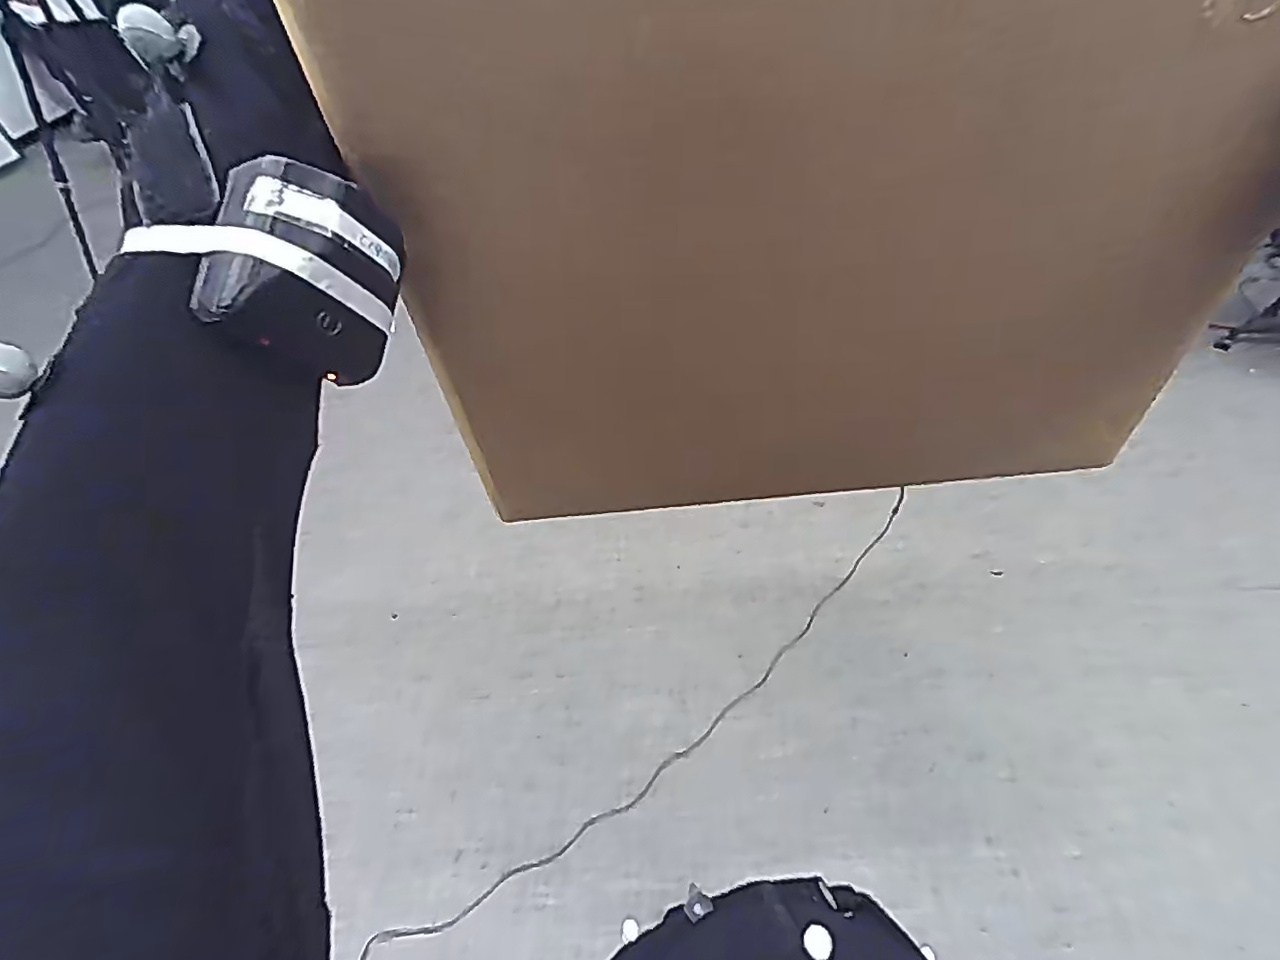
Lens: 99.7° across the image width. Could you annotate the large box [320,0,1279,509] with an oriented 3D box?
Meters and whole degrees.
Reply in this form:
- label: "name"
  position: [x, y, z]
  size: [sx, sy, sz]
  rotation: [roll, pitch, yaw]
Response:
- label: "large box"
  position: [0.081, -0.207, 0.375]
  size: [0.408, 0.320, 0.320]
  rotation: [-6, 44, 2]
